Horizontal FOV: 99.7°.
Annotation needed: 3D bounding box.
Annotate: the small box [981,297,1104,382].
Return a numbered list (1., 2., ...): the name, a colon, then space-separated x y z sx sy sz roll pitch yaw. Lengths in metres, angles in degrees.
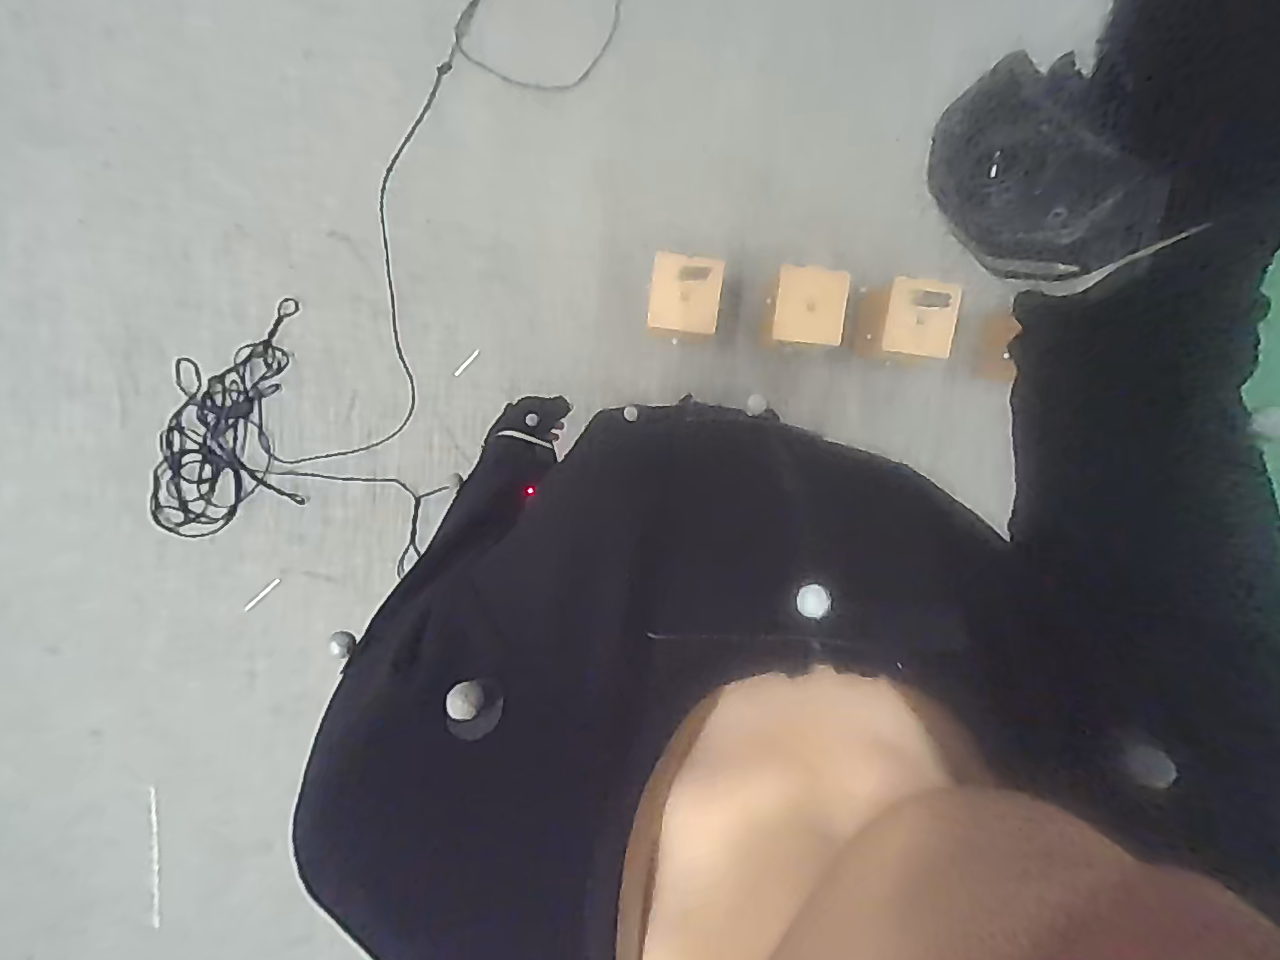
1. small box: 0.987 -0.341 1.344 0.168 0.176 0.179 6 97 -1

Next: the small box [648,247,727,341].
1. small box: 0.110 -0.451 1.336 0.168 0.176 0.179 8 98 0

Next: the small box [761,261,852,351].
1. small box: 0.402 -0.422 1.338 0.168 0.176 0.179 6 96 0
